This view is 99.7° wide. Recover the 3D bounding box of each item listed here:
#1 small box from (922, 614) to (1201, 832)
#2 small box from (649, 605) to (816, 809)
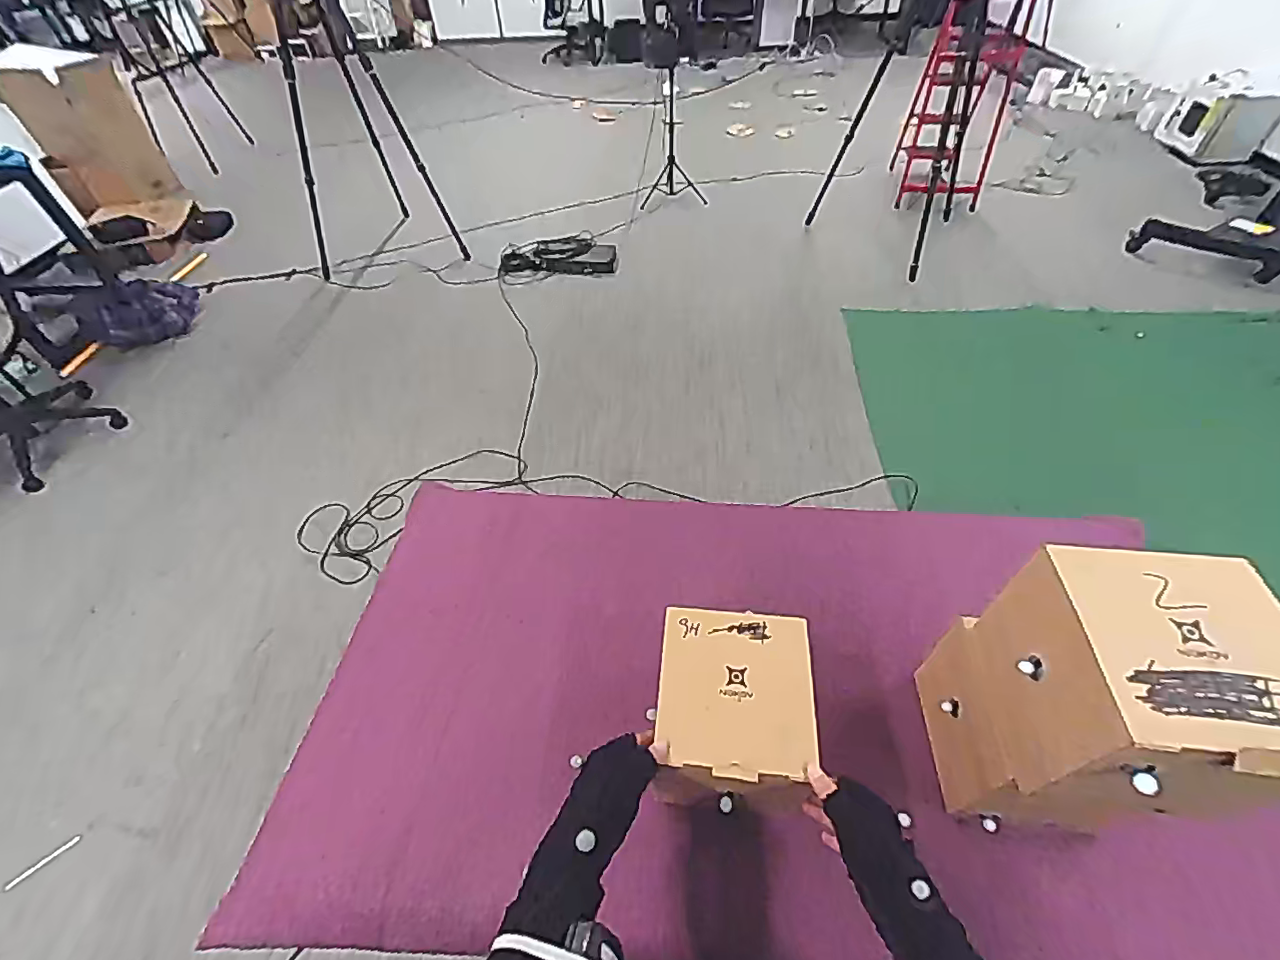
[{"bbox_3d":[0.445,0.278,0.612,0.168,0.176,0.179,7,50,6],"label":"small box"},{"bbox_3d":[0.105,0.271,0.639,0.168,0.176,0.179,4,50,6],"label":"small box"}]
